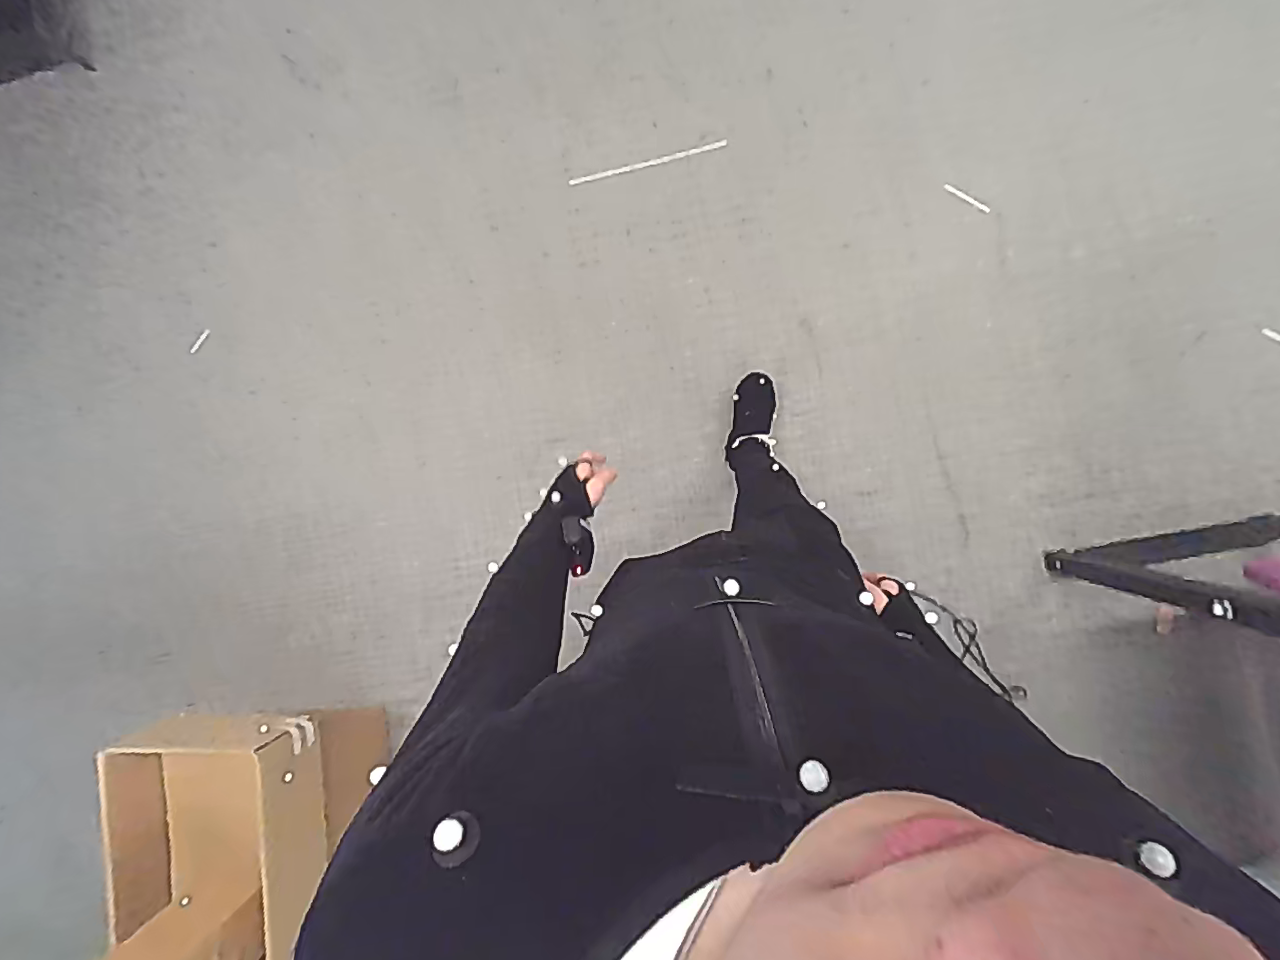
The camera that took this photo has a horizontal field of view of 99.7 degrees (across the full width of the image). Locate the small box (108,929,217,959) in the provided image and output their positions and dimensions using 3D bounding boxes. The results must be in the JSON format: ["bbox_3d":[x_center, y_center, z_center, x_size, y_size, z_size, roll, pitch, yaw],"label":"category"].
[{"bbox_3d":[-1.009,1.059,1.095,0.179,0.176,0.168,-1,91,6],"label":"small box"}]
